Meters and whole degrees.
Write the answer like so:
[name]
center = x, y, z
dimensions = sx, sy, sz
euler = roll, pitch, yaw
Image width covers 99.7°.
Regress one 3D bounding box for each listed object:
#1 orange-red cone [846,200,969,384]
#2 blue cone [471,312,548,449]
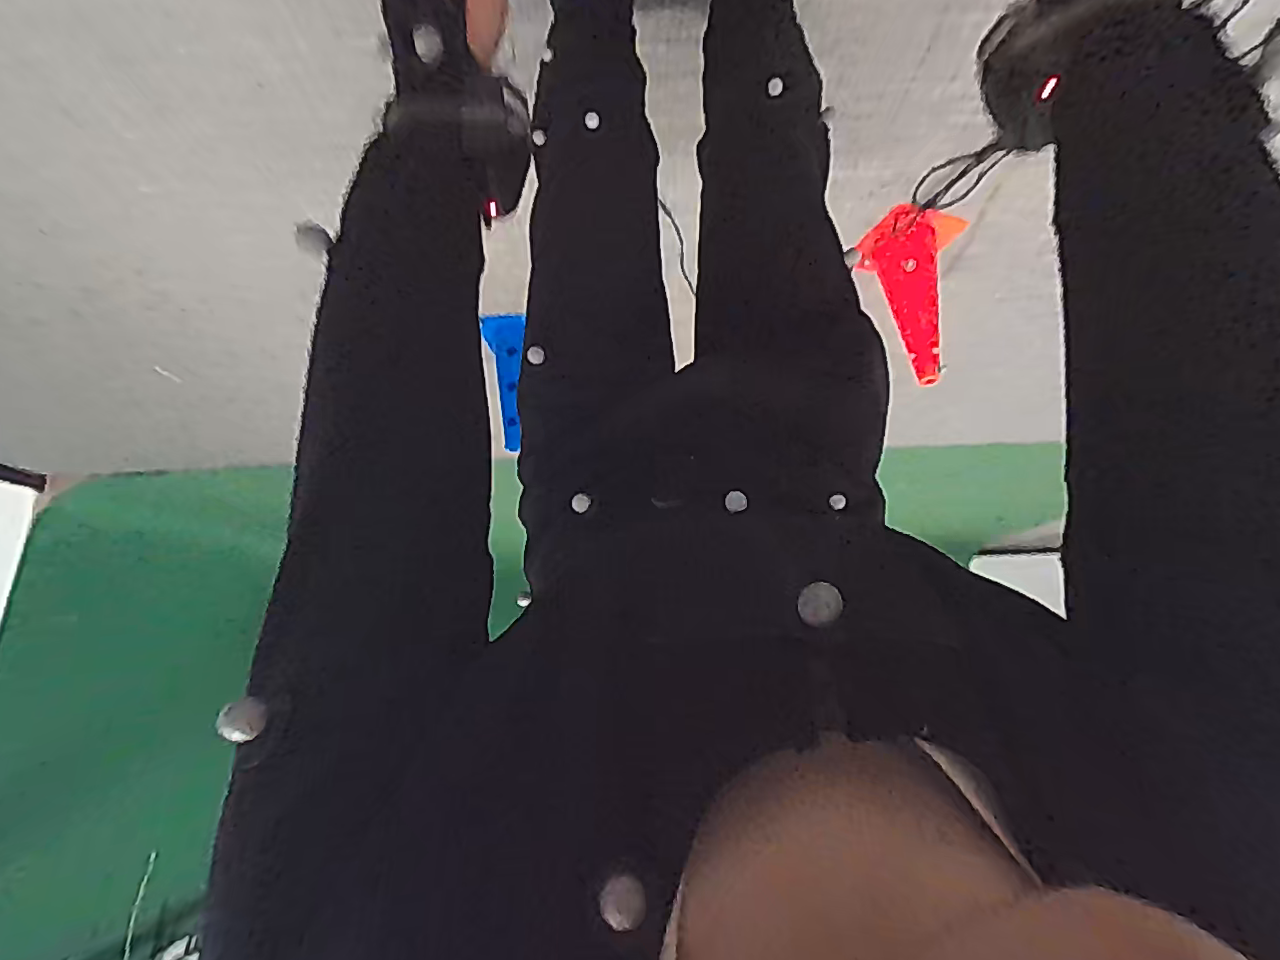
[orange-red cone]
center = 0.602, -0.378, 1.167
dimensions = 0.199, 0.360, 0.198
euler = 3, 163, -19
[blue cone]
center = -0.365, -0.268, 1.501
dimensions = 0.192, 0.380, 0.193
euler = -1, 162, 0
